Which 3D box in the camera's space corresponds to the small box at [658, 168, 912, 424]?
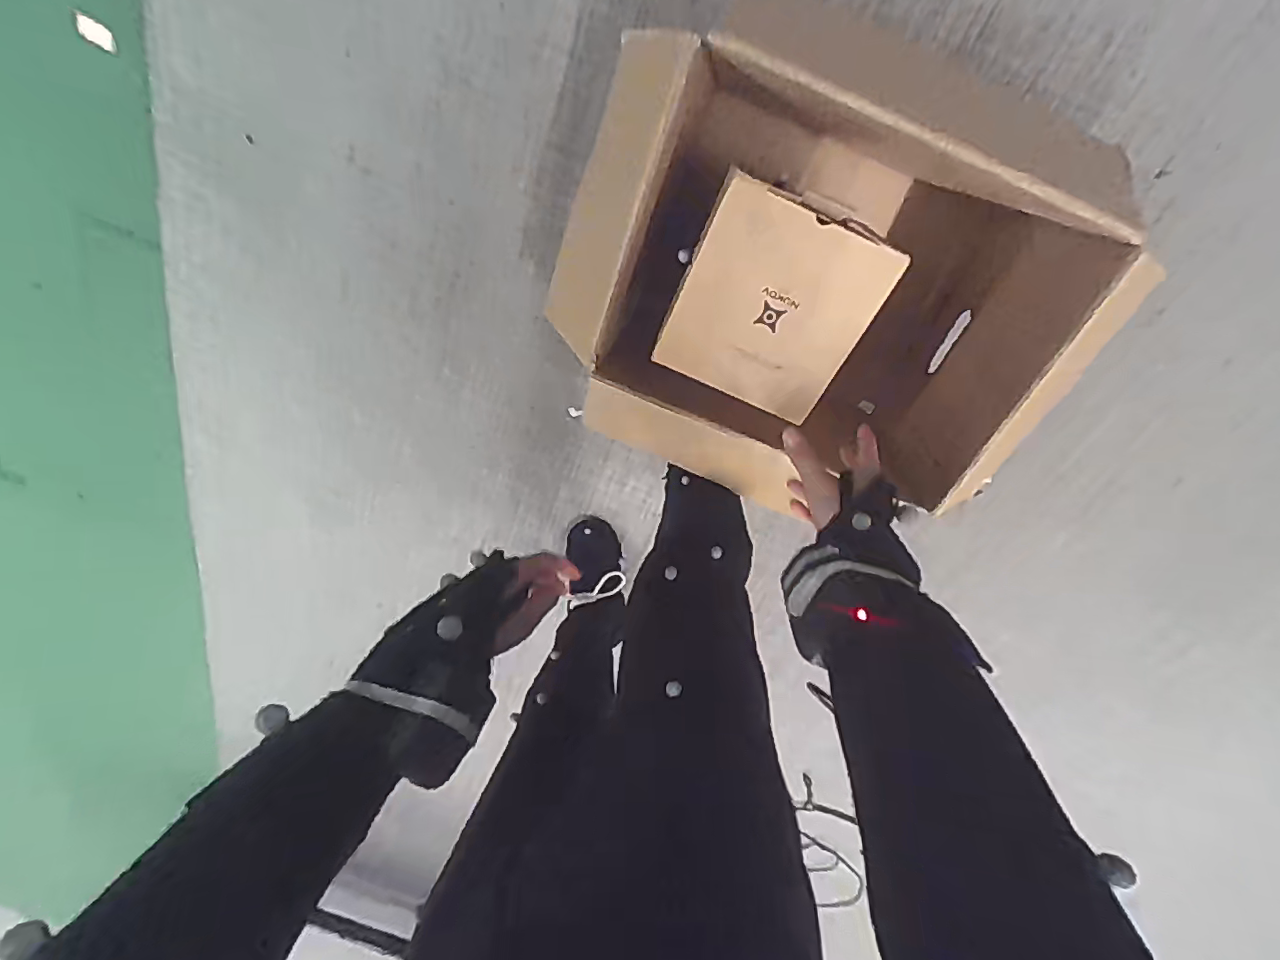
[{"bbox_3d":[0.132,-0.195,0.553,0.168,0.176,0.179,24,123,-7],"label":"small box"}]
